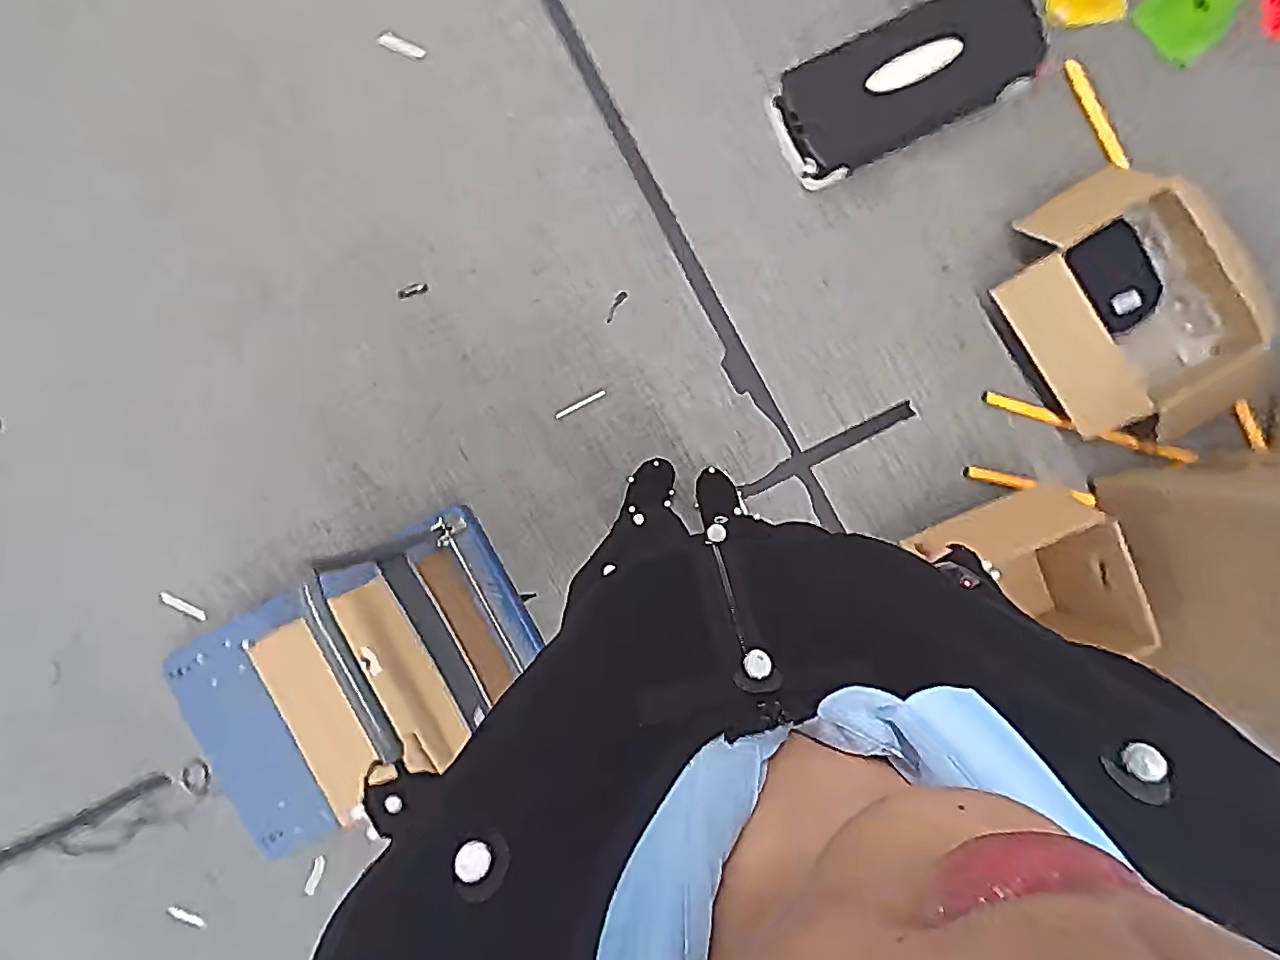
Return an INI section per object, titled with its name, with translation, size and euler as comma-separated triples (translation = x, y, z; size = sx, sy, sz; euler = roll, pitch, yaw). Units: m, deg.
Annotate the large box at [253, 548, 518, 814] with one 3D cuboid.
[large box]
translation = -0.529, 0.414, 1.203
size = 0.320, 0.320, 0.408
euler = -27, 90, 1
